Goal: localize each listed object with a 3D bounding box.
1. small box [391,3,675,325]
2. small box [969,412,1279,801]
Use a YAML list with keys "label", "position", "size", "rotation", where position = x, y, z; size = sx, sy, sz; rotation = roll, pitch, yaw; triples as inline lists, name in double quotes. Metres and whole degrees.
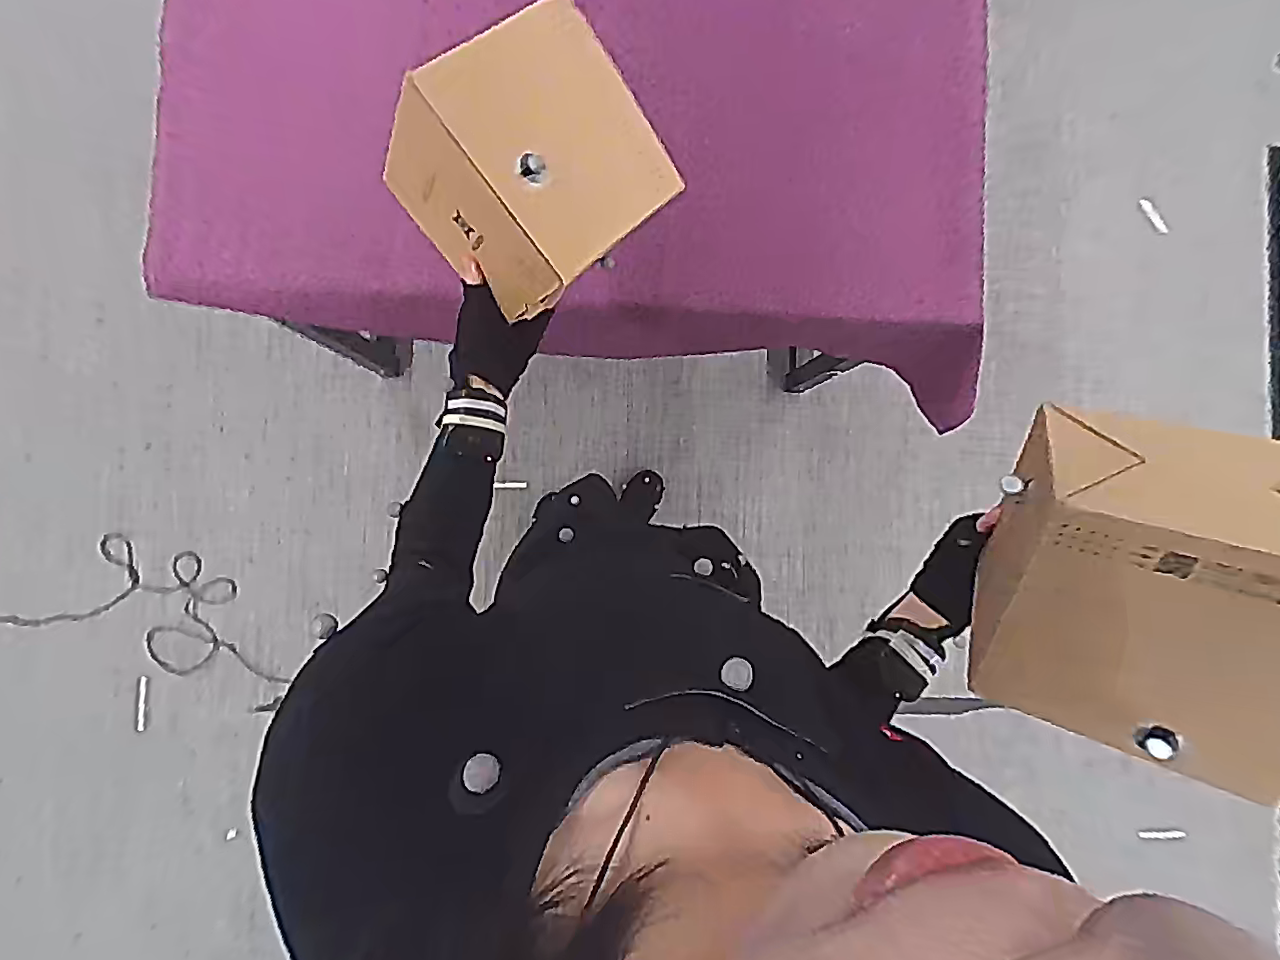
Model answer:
- label: "small box"
  position: [-0.099, -0.283, 0.511]
  size: [0.176, 0.168, 0.179]
  rotation: [-47, 110, -21]
- label: "small box"
  position: [0.347, 0.062, 0.371]
  size: [0.168, 0.179, 0.176]
  rotation: [16, 125, 27]
